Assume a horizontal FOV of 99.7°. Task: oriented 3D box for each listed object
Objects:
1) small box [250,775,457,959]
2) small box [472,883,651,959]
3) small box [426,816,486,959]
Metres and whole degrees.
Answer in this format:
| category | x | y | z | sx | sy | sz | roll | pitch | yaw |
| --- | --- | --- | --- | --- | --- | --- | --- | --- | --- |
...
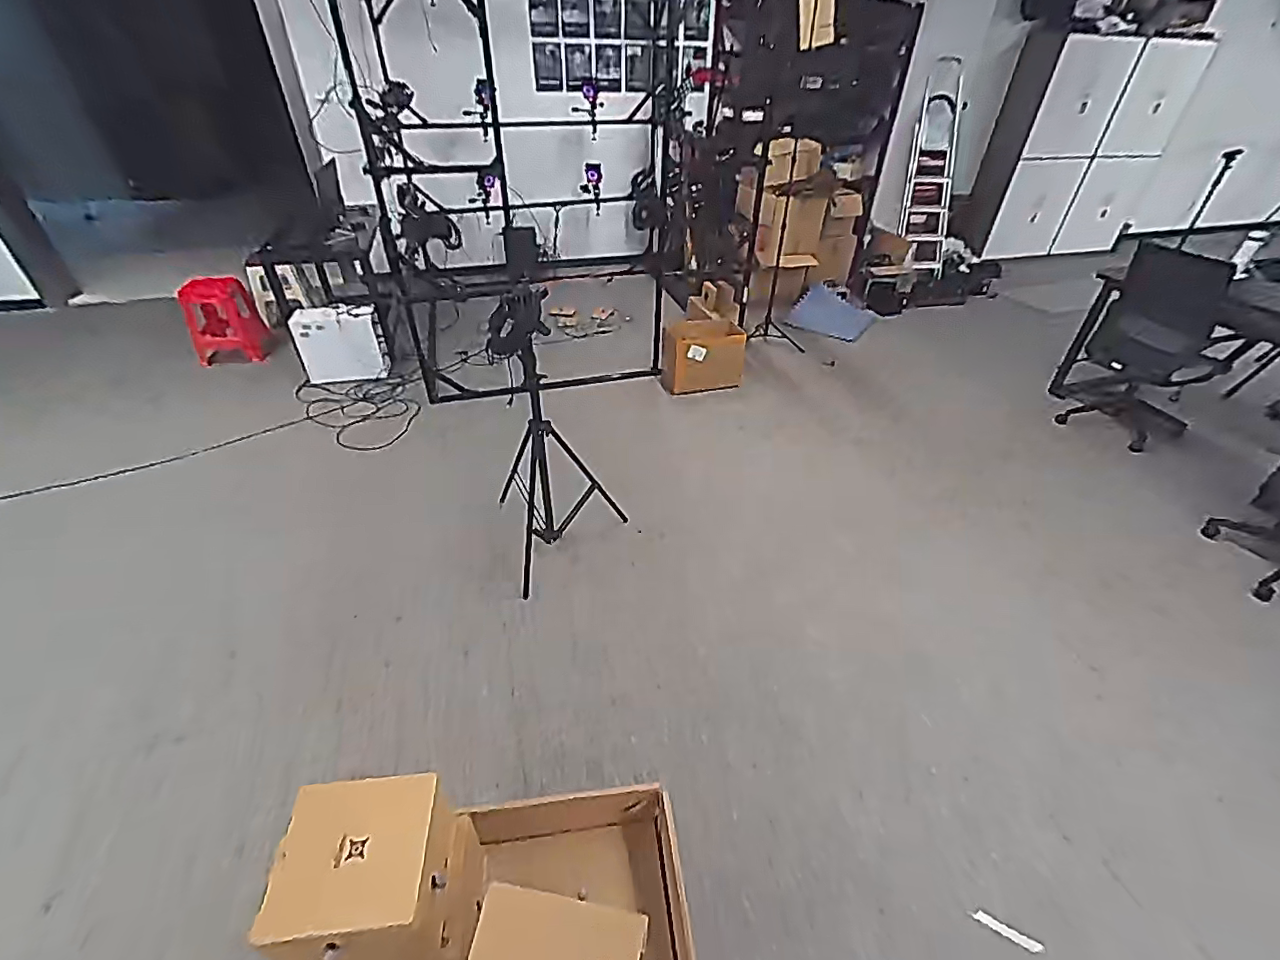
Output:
| category | x | y | z | sx | sy | sz | roll | pitch | yaw |
| --- | --- | --- | --- | --- | --- | --- | --- | --- | --- |
| small box | -0.344 | 0.510 | 0.698 | 0.179 | 0.176 | 0.168 | -3 | 37 | -7 |
| small box | -0.090 | 0.557 | 0.585 | 0.179 | 0.176 | 0.168 | 9 | 50 | 5 |
| small box | -0.325 | 0.638 | 0.800 | 0.168 | 0.176 | 0.179 | -5 | 37 | -9 |
